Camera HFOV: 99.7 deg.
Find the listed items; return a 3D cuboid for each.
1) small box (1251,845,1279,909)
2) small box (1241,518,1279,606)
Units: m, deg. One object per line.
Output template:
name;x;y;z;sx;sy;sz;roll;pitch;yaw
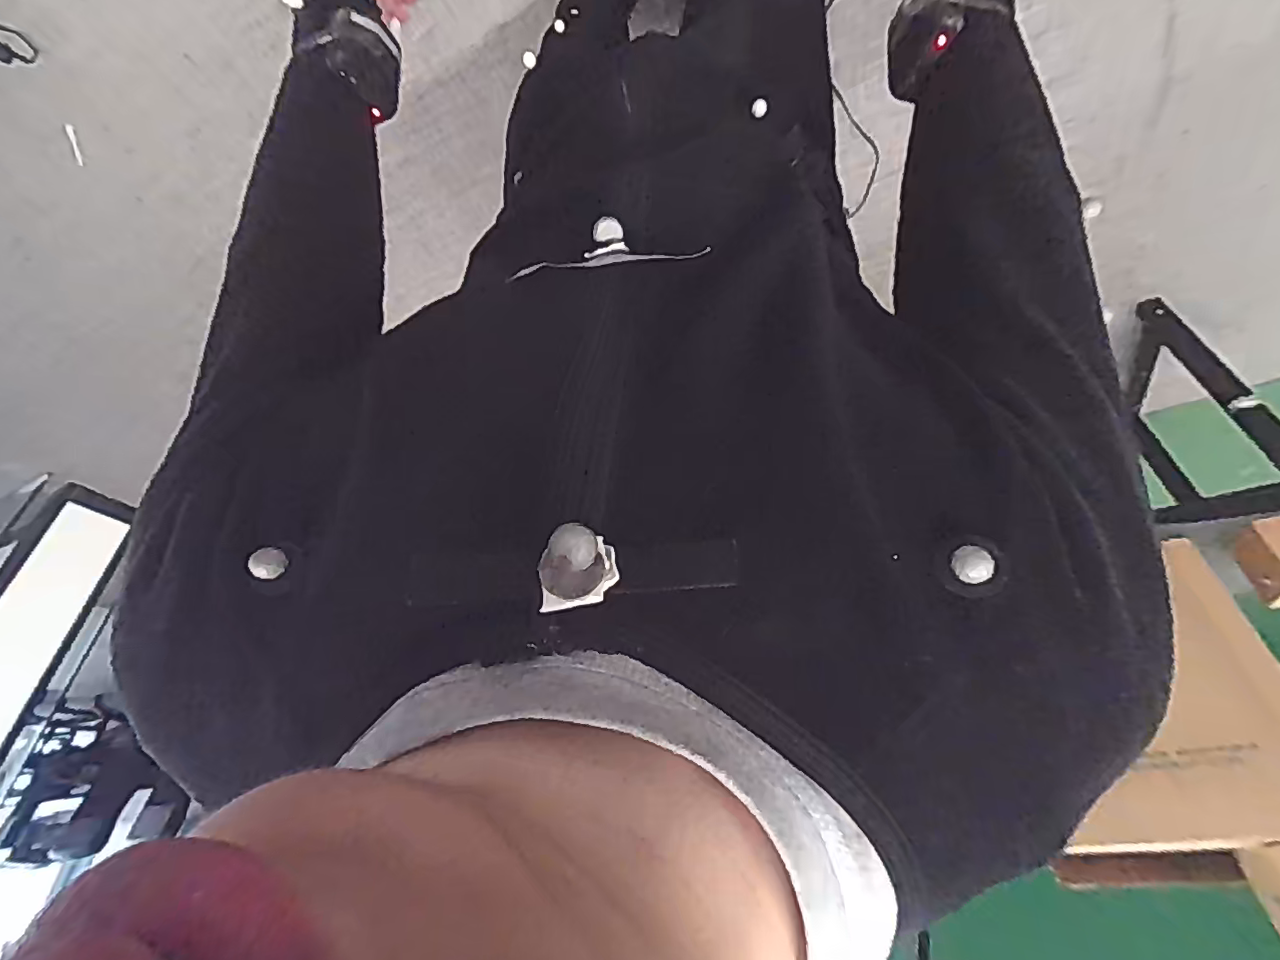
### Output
small box;1.343;0.795;1.028;0.168;0.176;0.179;-18;140;18
small box;1.598;0.183;1.278;0.168;0.176;0.179;-17;143;22
